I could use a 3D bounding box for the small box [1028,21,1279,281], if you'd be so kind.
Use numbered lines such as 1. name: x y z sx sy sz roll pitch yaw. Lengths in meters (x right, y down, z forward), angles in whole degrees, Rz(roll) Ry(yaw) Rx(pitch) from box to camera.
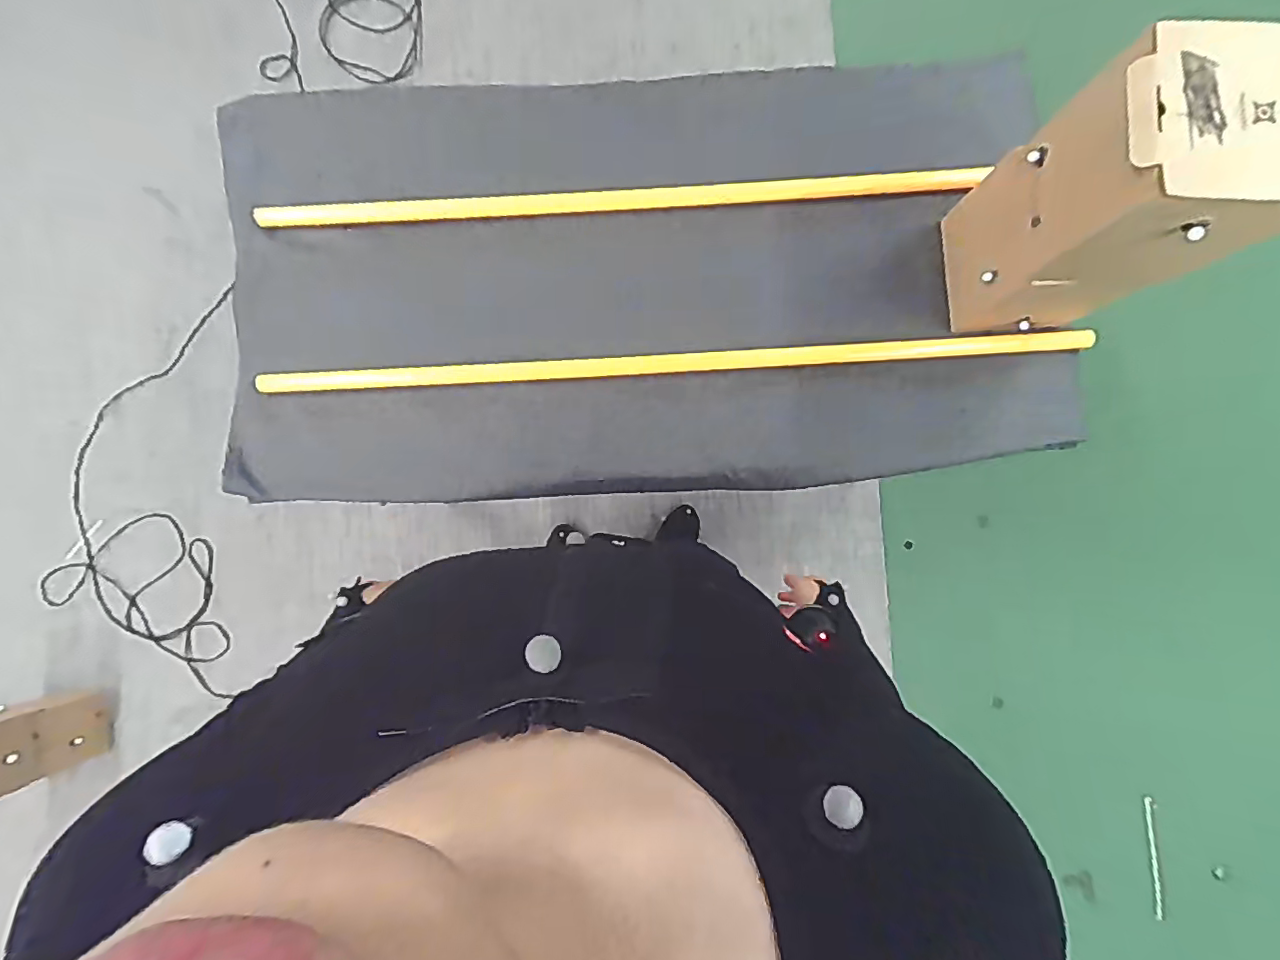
1. small box: 0.537 -0.318 0.555 0.179 0.176 0.168 1 87 -1

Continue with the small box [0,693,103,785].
1. small box: -1.517 0.653 1.367 0.179 0.176 0.168 -7 87 -1

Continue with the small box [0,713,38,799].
1. small box: -1.508 0.638 1.203 0.179 0.176 0.168 -8 86 -1
